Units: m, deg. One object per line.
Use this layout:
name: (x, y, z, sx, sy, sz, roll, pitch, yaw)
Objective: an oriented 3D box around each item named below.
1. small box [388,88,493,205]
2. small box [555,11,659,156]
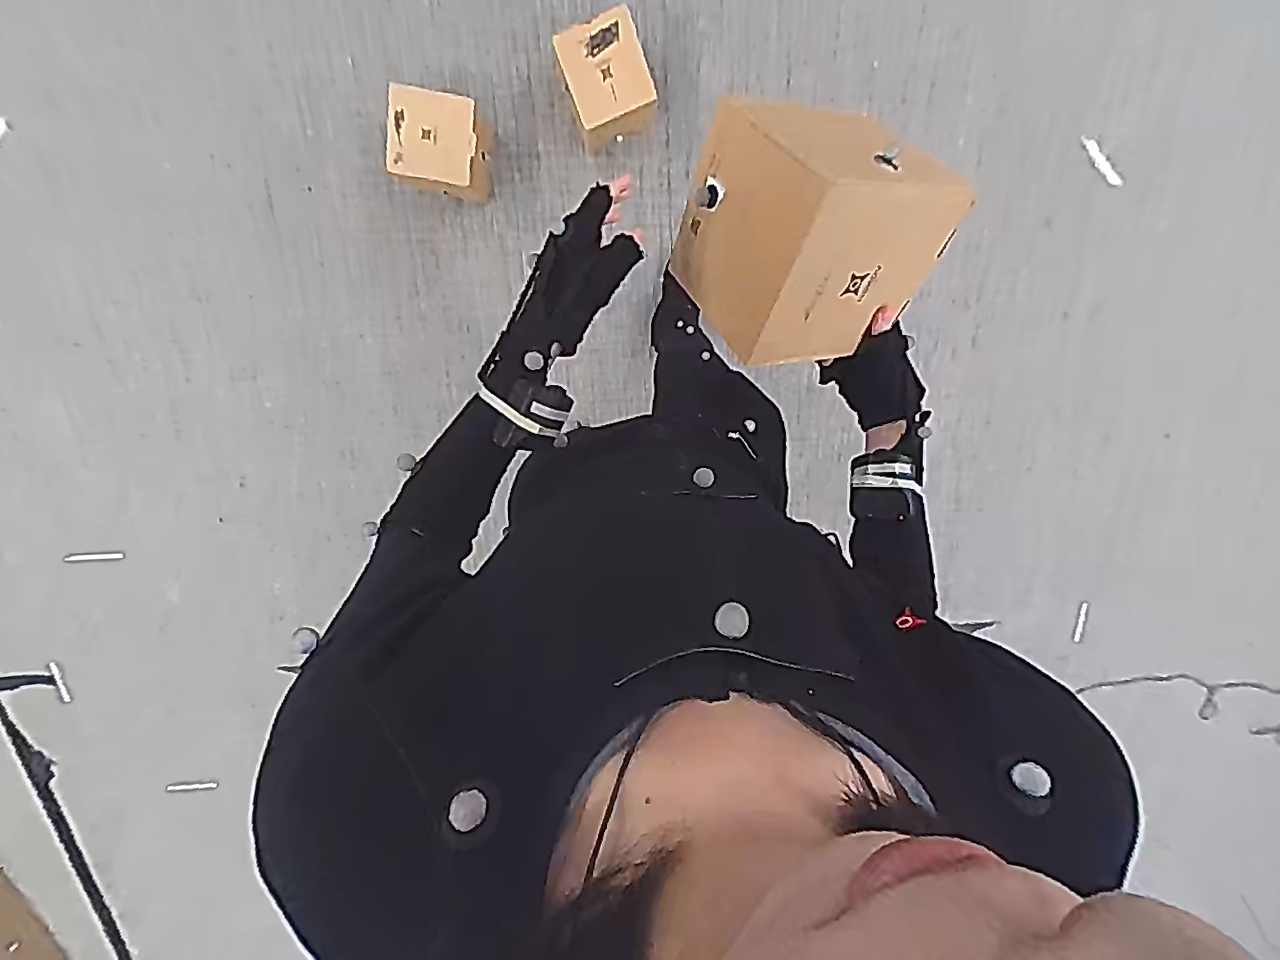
small box: (-0.431, -0.721, 1.191, 0.179, 0.176, 0.168, 9, 105, -6)
small box: (-0.071, -0.845, 1.171, 0.168, 0.176, 0.179, -22, 107, 4)
